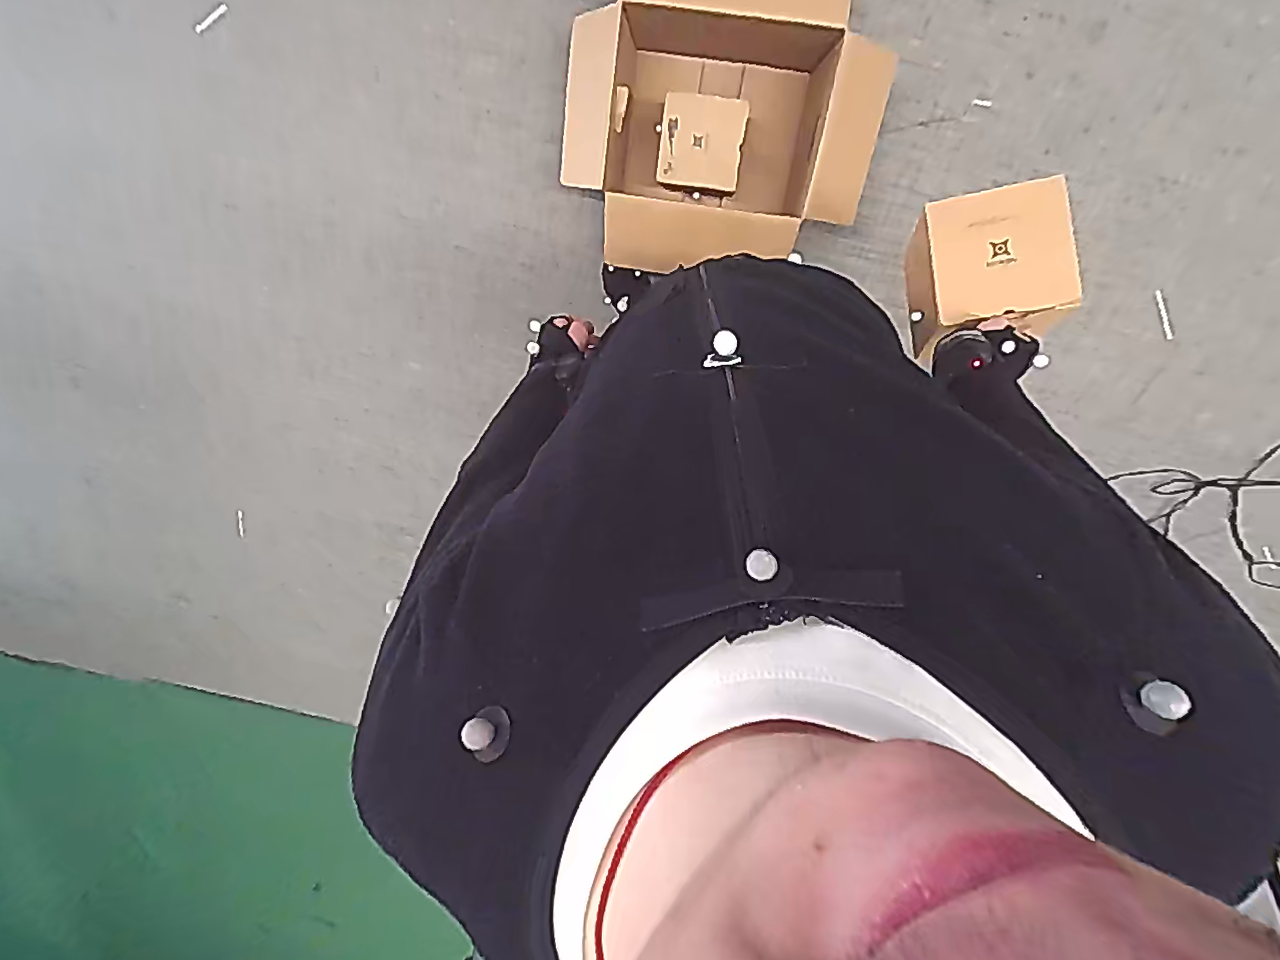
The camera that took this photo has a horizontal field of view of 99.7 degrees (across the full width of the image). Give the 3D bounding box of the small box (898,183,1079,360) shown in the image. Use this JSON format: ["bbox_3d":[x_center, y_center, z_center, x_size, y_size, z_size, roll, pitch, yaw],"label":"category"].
[{"bbox_3d":[0.489,-0.285,0.786,0.168,0.176,0.179,-6,82,13],"label":"small box"}]
